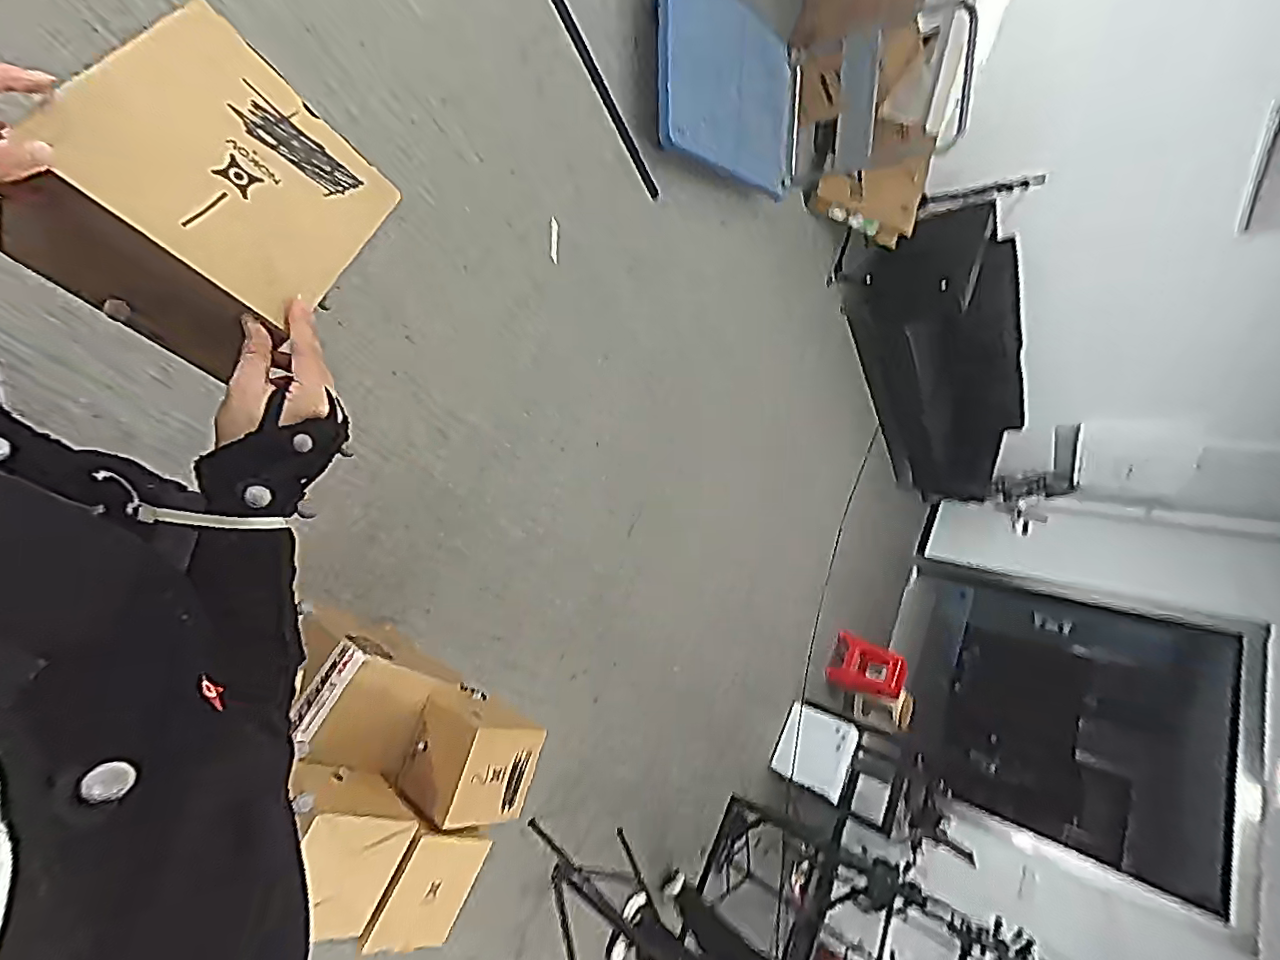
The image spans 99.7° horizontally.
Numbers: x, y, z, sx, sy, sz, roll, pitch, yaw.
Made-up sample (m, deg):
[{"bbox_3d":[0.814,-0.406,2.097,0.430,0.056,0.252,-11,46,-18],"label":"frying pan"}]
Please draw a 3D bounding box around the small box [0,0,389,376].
[{"bbox_3d":[-0.349,-0.213,0.435,0.168,0.176,0.179,41,54,-38],"label":"small box"}]
